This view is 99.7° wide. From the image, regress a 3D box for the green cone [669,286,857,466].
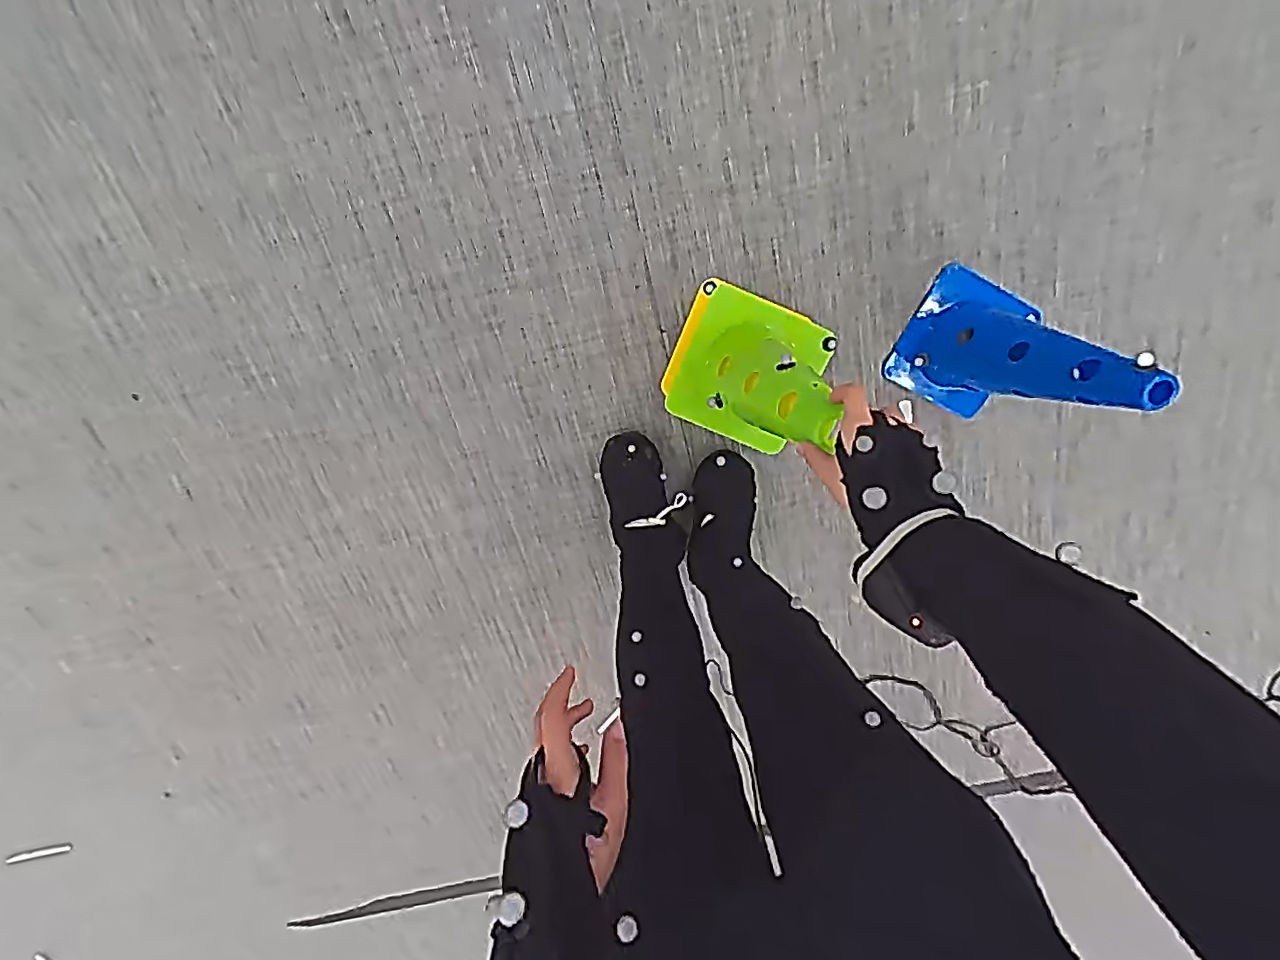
[{"bbox_3d":[0.165,-0.097,0.633,0.200,0.368,0.202,21,109,-8],"label":"green cone"}]
